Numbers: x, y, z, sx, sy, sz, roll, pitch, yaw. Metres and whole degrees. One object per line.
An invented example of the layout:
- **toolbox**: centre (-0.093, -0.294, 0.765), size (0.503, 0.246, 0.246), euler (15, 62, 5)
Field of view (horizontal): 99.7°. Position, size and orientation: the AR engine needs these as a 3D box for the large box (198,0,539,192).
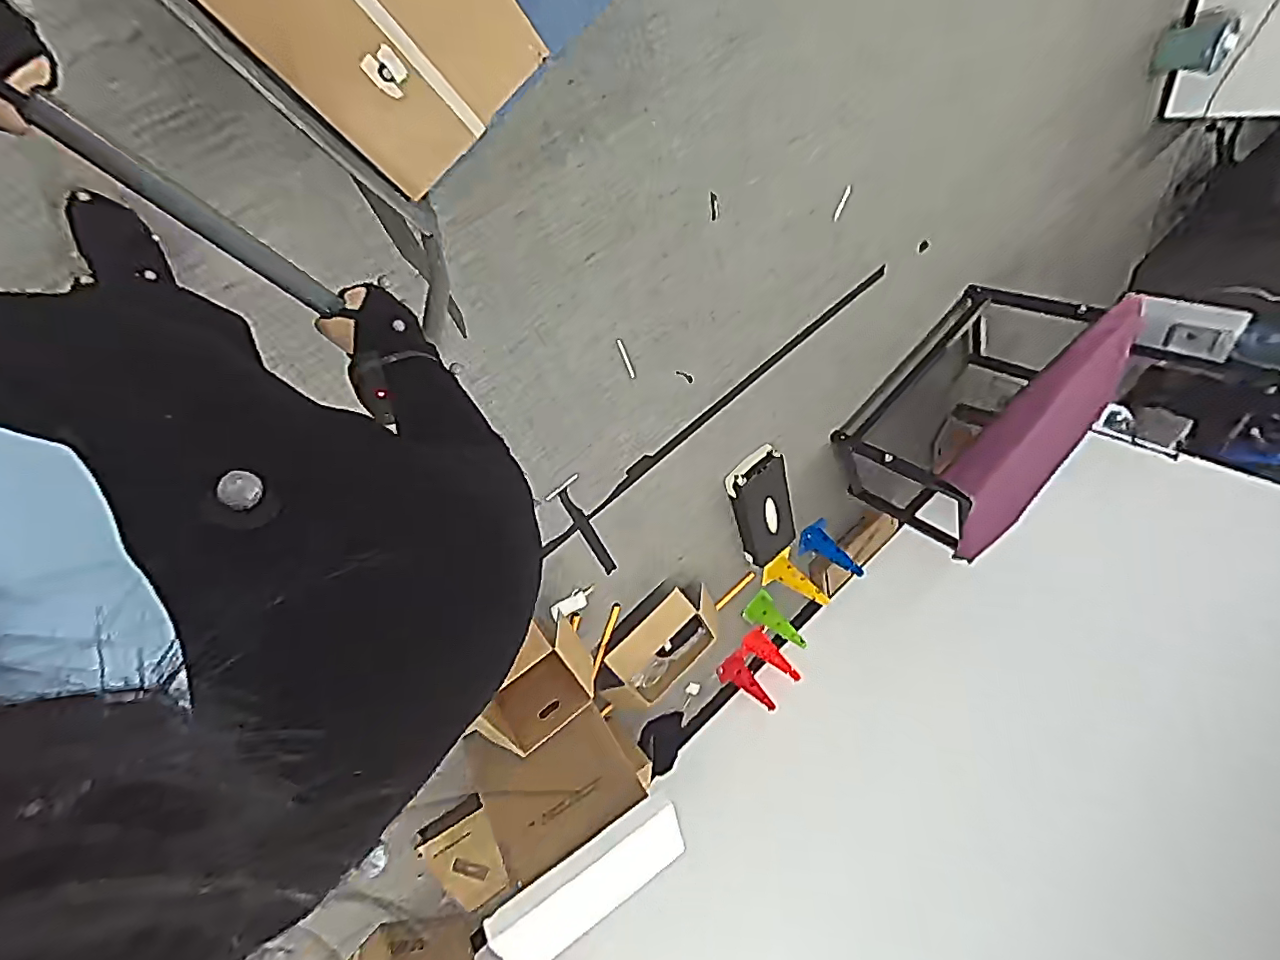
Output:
- **large box**: centre (-0.433, -0.747, 0.817), size (0.320, 0.320, 0.408), euler (-39, 139, 11)
